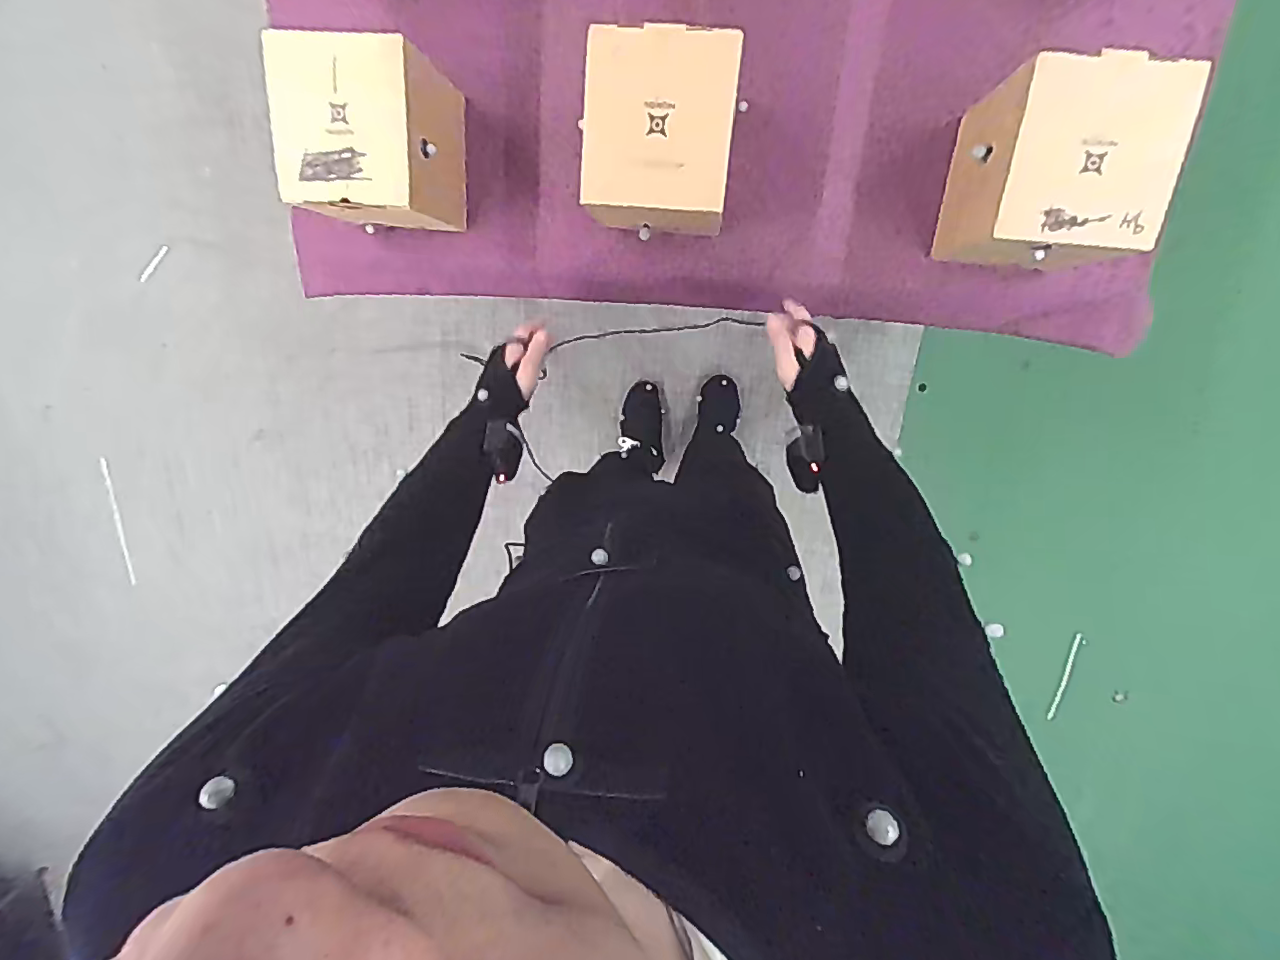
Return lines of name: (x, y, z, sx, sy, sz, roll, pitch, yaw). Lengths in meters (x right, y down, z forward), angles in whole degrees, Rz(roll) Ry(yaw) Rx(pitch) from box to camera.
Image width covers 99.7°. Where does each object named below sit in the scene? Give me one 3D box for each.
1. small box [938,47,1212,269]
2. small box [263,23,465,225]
small box: (0.479, -0.357, 0.631, 0.168, 0.176, 0.179, 7, 105, 5)
small box: (-0.332, -0.434, 0.689, 0.168, 0.176, 0.179, 5, 106, 3)
